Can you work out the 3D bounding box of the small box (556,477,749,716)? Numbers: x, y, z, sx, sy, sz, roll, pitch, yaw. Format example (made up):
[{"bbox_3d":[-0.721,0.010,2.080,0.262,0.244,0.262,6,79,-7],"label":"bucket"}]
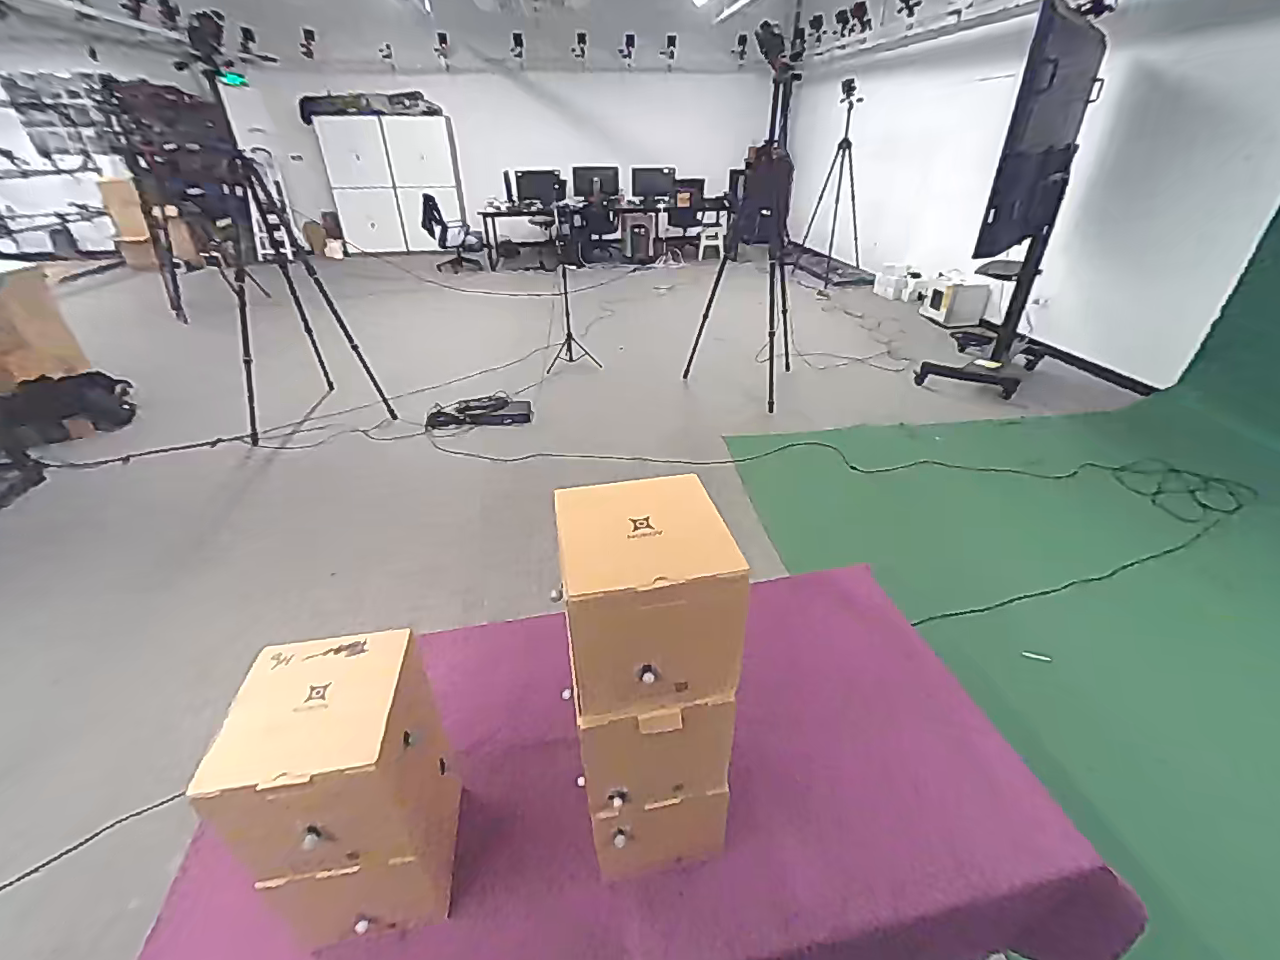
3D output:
[{"bbox_3d":[0.002,0.117,0.581,0.168,0.176,0.179,-7,32,-10],"label":"small box"}]

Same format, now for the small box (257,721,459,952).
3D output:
[{"bbox_3d":[-0.333,0.444,0.684,0.168,0.176,0.179,-6,32,-8],"label":"small box"}]

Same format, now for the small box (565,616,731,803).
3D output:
[{"bbox_3d":[0.004,0.262,0.658,0.168,0.176,0.179,-7,31,-9],"label":"small box"}]

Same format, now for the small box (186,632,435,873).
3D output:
[{"bbox_3d":[-0.337,0.301,0.601,0.168,0.176,0.179,-5,32,-9],"label":"small box"}]
